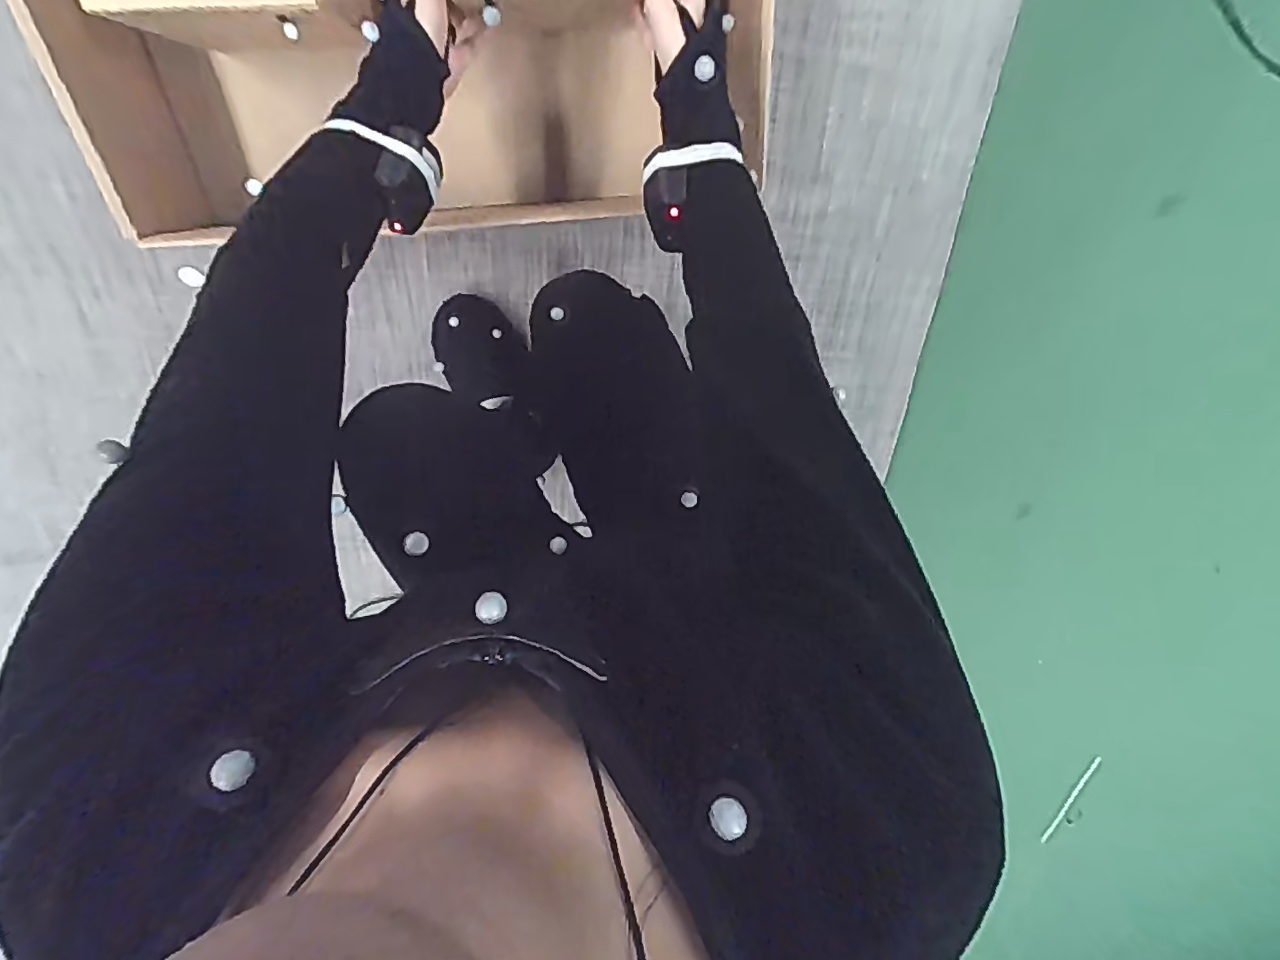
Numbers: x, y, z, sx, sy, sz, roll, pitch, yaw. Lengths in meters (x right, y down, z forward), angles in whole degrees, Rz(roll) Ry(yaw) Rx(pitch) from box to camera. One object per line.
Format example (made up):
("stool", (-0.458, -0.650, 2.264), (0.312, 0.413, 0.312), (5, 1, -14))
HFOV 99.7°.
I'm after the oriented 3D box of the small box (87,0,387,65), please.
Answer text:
("small box", (-0.344, -0.466, 0.454), (0.179, 0.176, 0.168), (-5, 119, -4))
